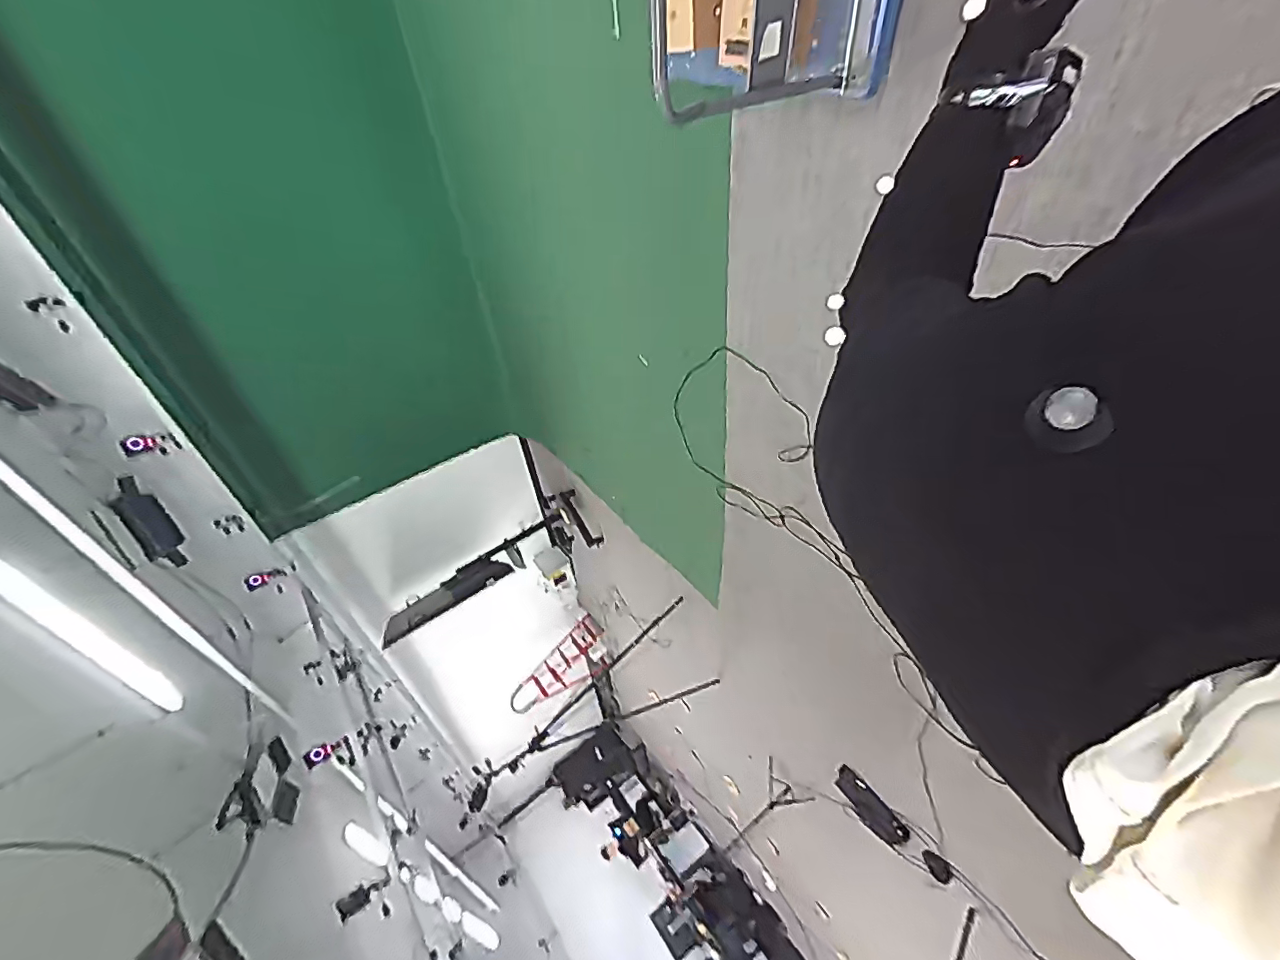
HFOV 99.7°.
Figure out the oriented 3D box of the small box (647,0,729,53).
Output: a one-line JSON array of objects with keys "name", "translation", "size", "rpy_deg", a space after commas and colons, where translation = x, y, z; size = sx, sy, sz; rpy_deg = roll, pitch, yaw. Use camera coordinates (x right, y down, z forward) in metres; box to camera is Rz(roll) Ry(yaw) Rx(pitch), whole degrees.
[{"name": "small box", "translation": [0.139, -1.328, 1.536], "size": [0.179, 0.176, 0.168], "rpy_deg": [37, 146, 39]}]
